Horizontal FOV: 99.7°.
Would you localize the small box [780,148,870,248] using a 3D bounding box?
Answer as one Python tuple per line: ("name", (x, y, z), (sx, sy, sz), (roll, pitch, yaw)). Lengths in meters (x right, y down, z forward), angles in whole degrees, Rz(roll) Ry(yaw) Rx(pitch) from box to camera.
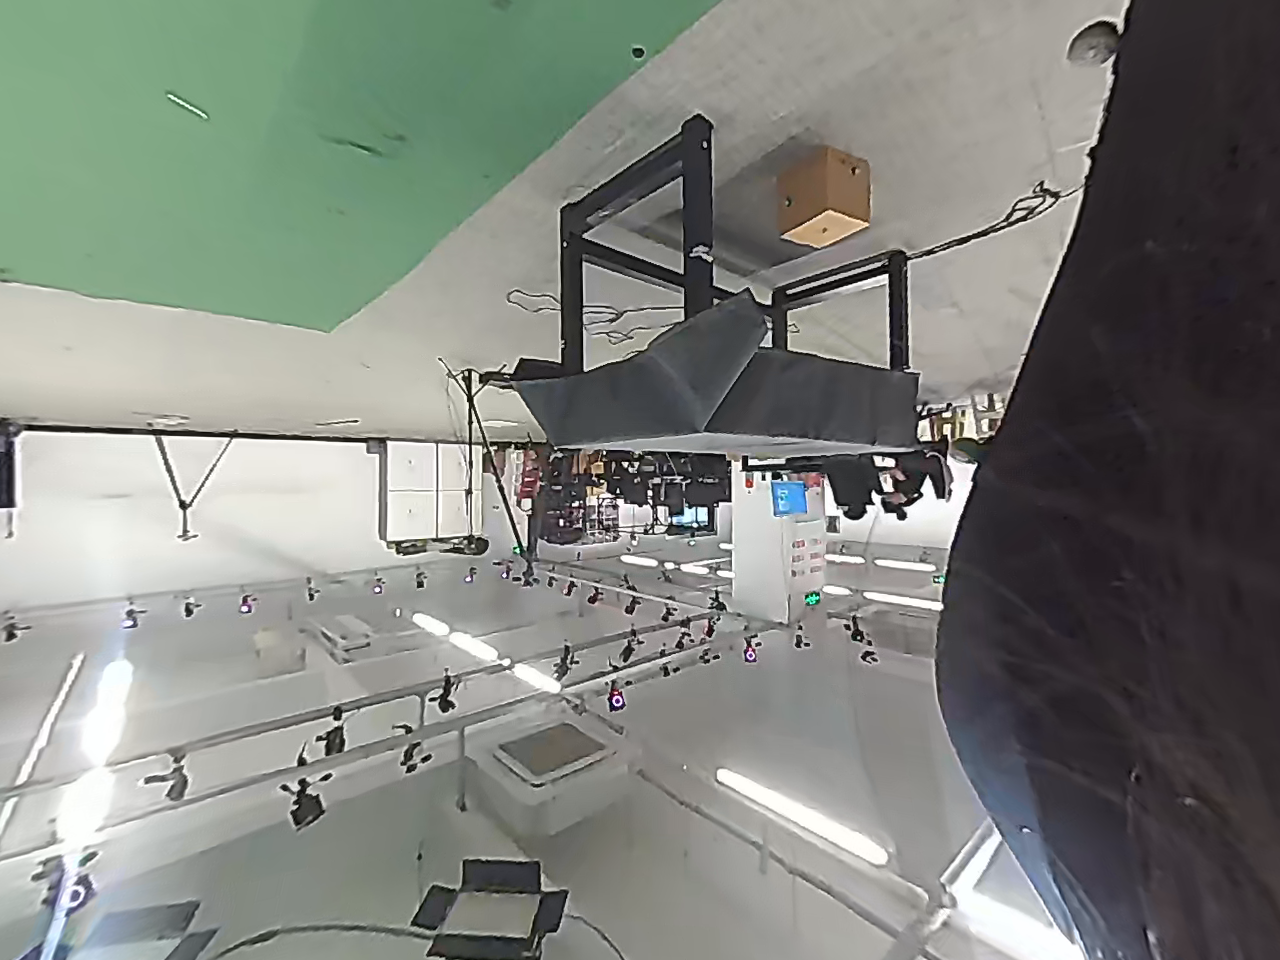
("small box", (0.503, -0.760, 1.469), (0.168, 0.176, 0.179), (-1, -179, -30))
